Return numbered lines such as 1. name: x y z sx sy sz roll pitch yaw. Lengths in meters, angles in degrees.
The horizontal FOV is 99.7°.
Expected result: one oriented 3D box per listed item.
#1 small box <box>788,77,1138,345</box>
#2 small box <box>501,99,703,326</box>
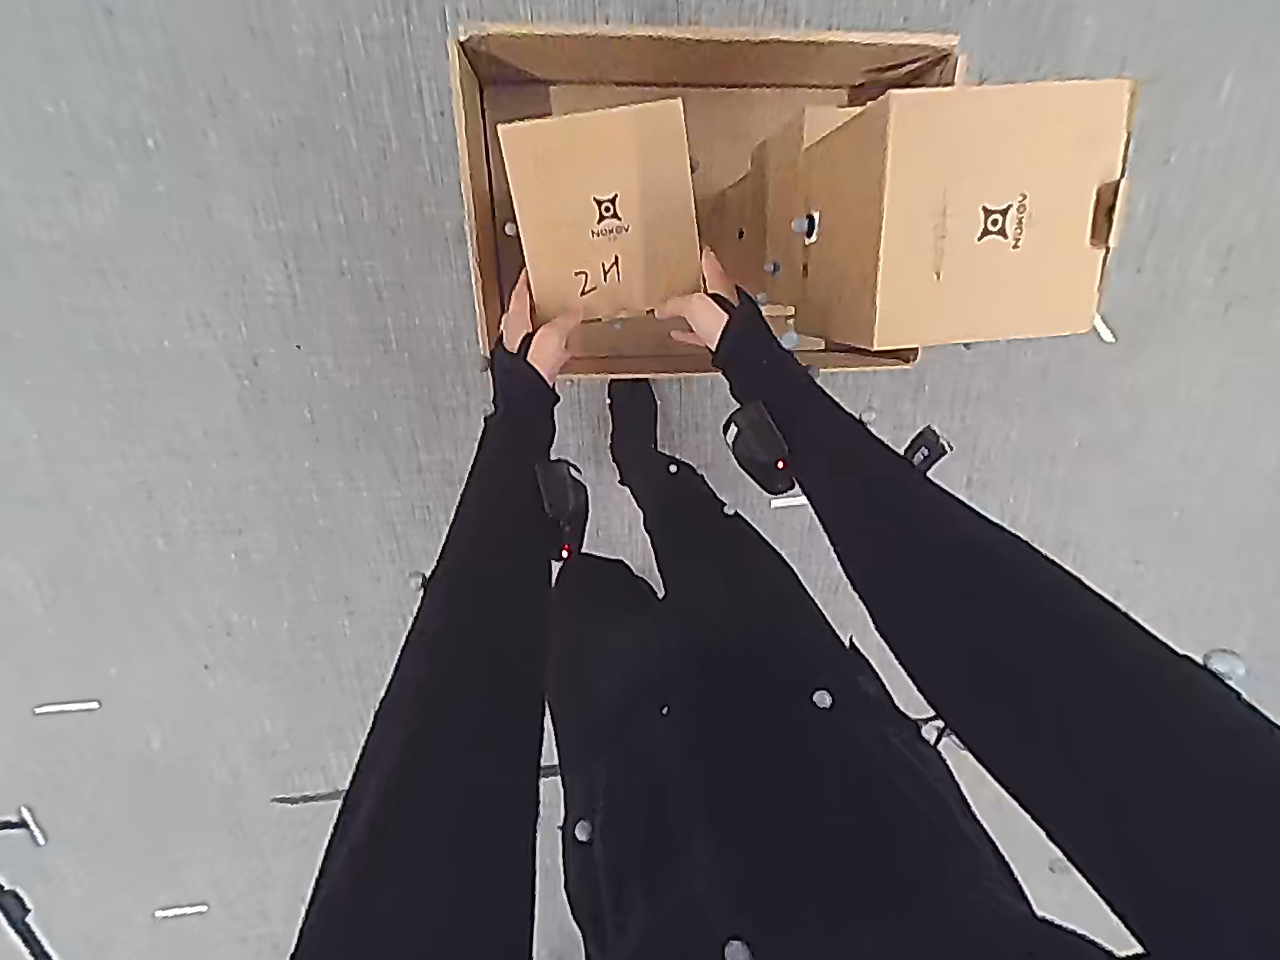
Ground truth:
1. small box: 0.241 -0.209 0.452 0.179 0.176 0.168 -6 109 -4
2. small box: -0.040 -0.264 0.573 0.168 0.176 0.179 -11 108 -3
